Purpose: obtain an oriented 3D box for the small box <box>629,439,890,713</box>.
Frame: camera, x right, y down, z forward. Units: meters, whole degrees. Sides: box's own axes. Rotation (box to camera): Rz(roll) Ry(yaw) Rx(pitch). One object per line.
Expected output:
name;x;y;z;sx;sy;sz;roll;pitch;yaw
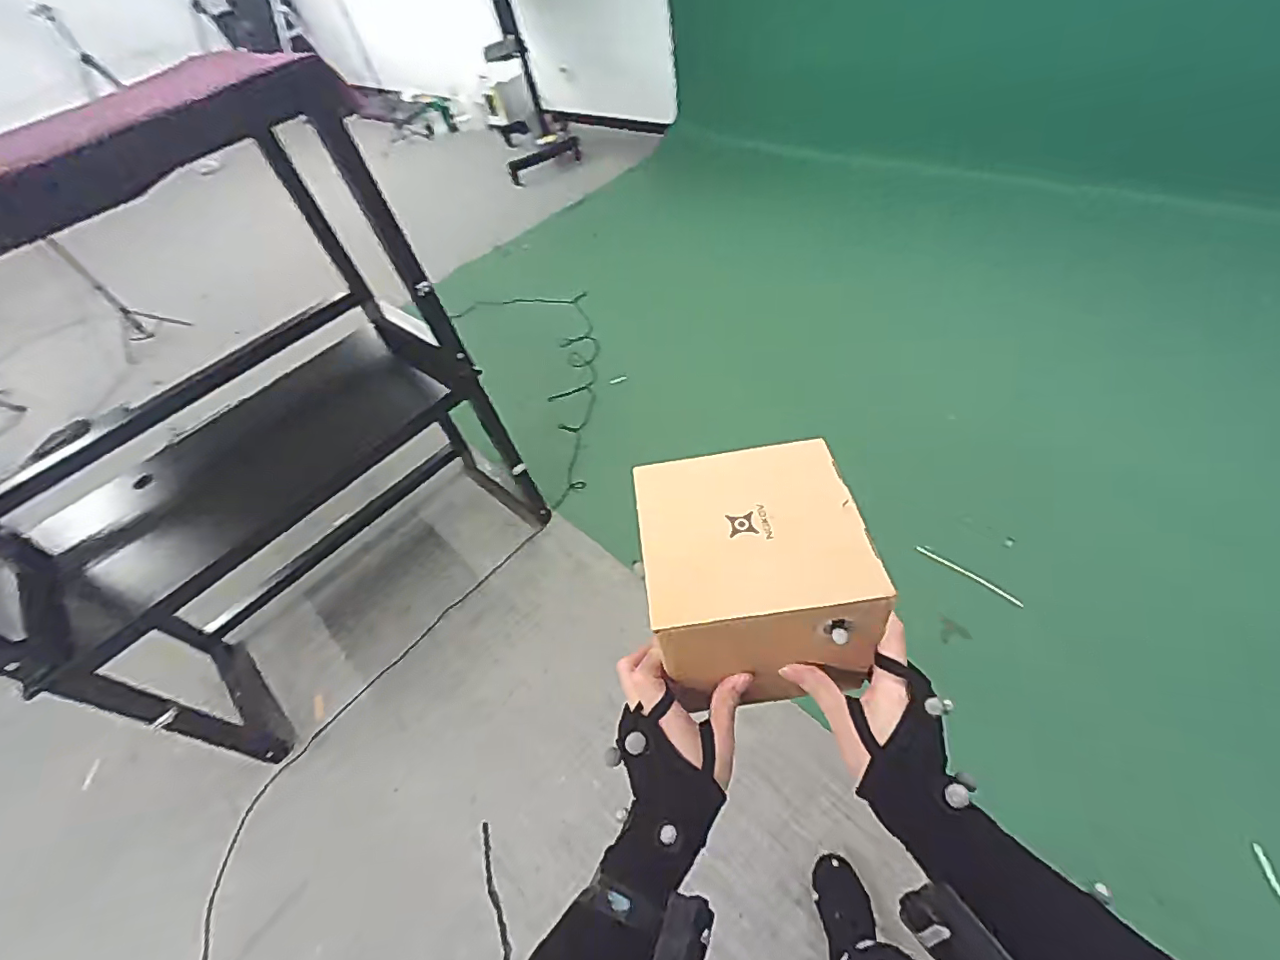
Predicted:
small box;0.093;0.090;0.484;0.179;0.176;0.168;-9;45;2
